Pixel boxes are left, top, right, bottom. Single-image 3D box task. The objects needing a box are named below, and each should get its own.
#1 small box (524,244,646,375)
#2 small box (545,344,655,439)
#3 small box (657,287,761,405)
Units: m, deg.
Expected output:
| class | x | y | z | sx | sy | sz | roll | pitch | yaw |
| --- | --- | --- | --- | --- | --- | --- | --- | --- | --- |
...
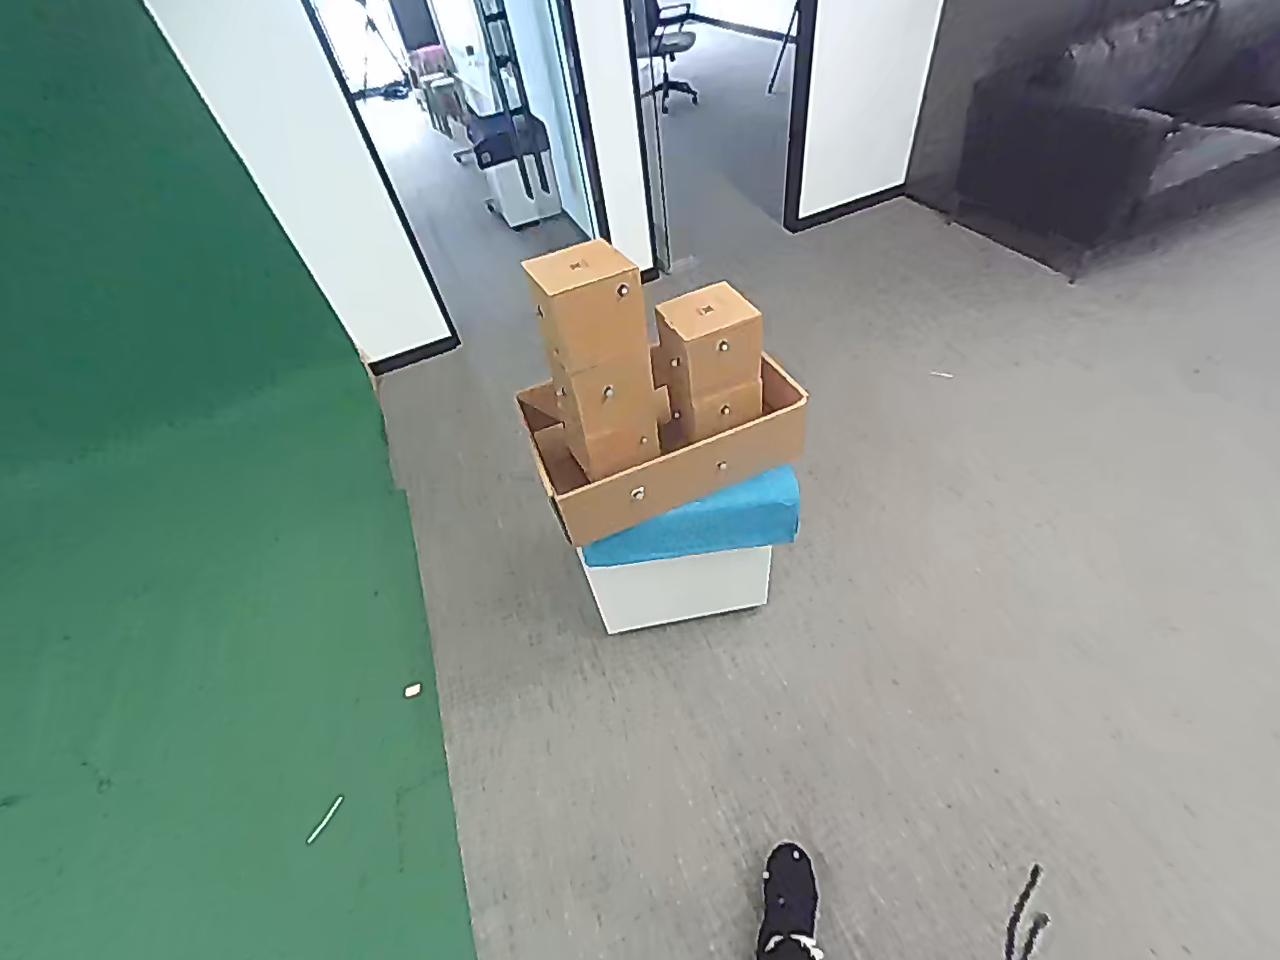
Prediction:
| class | x | y | z | sx | sy | sz | roll | pitch | yaw |
| --- | --- | --- | --- | --- | --- | --- | --- | --- | --- |
| small box | -0.102 | -0.329 | 1.051 | 0.179 | 0.176 | 0.168 | -23 | 47 | -15 |
| small box | -0.081 | -0.217 | 1.168 | 0.179 | 0.176 | 0.168 | -24 | 48 | -13 |
| small box | 0.155 | -0.292 | 1.194 | 0.179 | 0.176 | 0.168 | -21 | 47 | -8 |
